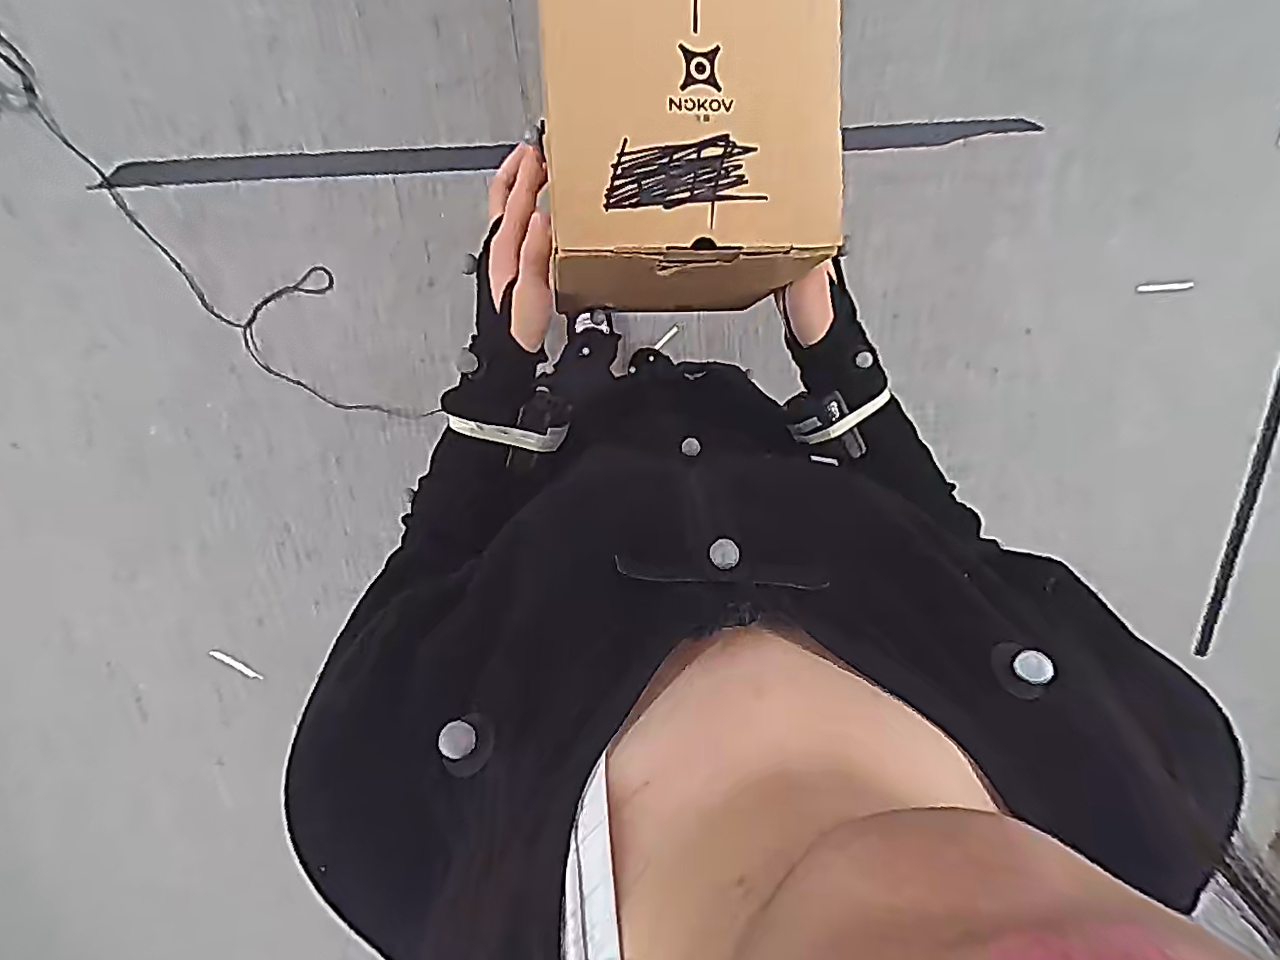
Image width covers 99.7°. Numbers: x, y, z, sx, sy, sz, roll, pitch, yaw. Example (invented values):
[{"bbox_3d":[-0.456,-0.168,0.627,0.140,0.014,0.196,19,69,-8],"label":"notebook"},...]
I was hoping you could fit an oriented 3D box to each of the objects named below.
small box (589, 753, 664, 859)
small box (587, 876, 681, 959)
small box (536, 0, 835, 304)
[{"bbox_3d":[-0.037,0.835,1.399,0.179,0.176,0.168,-5,107,-1],"label":"small box"},{"bbox_3d":[-0.014,0.939,1.088,0.179,0.176,0.168,-2,108,-3],"label":"small box"},{"bbox_3d":[0.017,-0.225,0.374,0.168,0.176,0.179,-3,96,-8],"label":"small box"}]
